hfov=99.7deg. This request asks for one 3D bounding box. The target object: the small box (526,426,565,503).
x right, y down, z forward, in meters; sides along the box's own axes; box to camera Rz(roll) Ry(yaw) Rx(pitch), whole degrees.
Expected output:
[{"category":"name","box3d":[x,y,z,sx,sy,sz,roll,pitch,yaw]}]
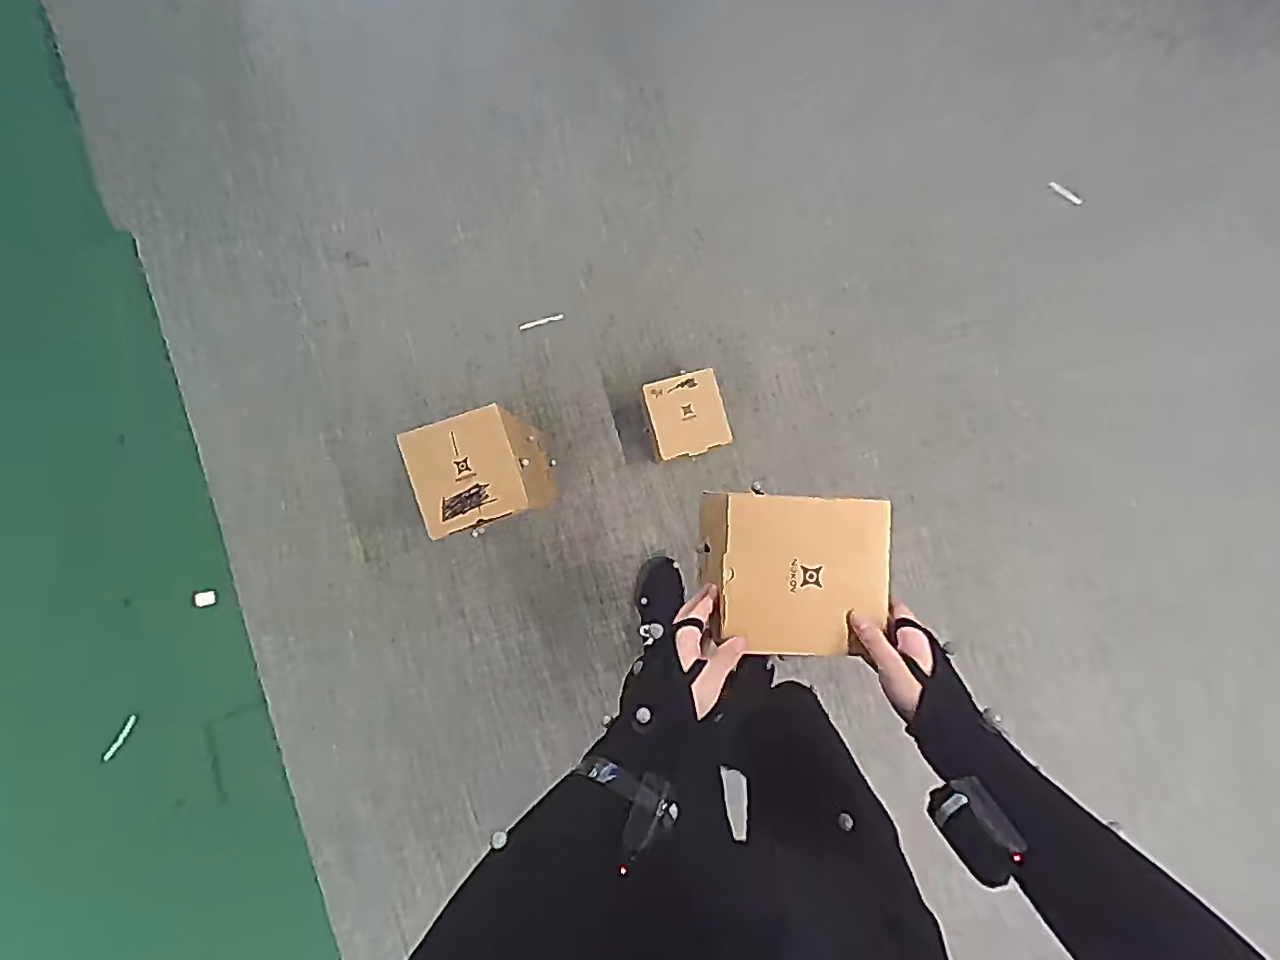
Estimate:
[{"category":"small box","box3d":[-0.286,-0.015,1.265,0.179,0.176,0.168,-17,89,-3]}]

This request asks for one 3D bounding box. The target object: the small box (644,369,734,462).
[{"category":"small box","box3d":[0.110,-0.145,1.285,0.168,0.176,0.179,-15,89,-3]}]

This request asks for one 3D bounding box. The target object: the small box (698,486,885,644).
[{"category":"small box","box3d":[0.171,0.093,0.655,0.179,0.176,0.168,1,88,-1]}]

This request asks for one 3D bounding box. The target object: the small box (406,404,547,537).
[{"category":"small box","box3d":[-0.270,-0.014,0.937,0.168,0.176,0.179,-19,88,-3]}]
